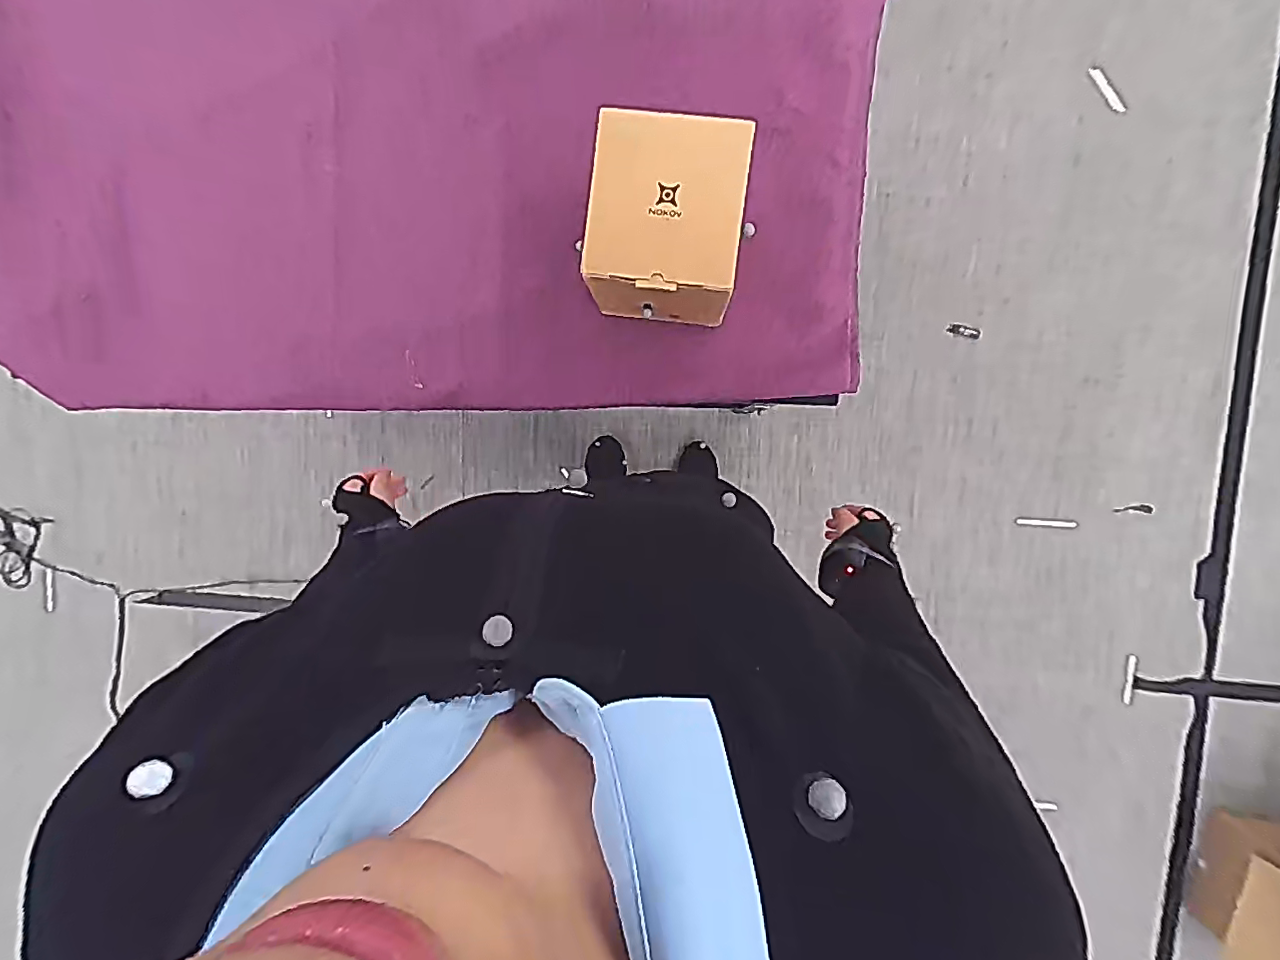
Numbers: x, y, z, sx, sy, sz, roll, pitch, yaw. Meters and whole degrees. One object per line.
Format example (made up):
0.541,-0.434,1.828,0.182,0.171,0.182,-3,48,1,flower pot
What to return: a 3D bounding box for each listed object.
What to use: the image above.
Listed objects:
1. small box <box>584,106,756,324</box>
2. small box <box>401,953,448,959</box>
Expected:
0.034,-0.301,0.648,0.168,0.176,0.179,7,94,3,small box
-0.638,1.509,1.544,0.168,0.176,0.179,1,95,3,small box
